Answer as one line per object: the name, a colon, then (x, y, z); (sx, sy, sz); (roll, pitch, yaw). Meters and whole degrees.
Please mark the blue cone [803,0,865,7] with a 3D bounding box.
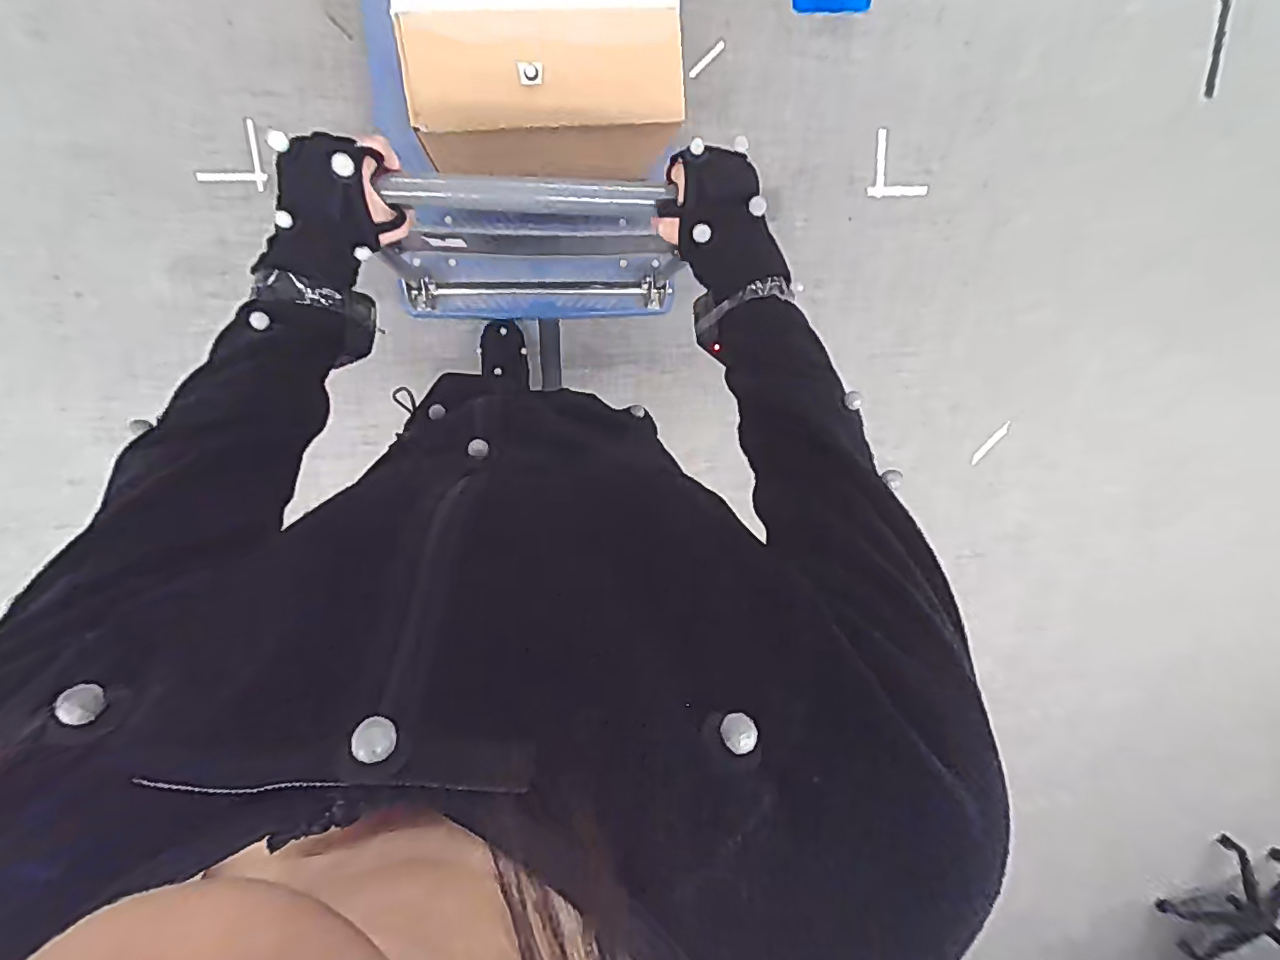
blue cone: (0.482, -1.171, 1.096); (0.193, 0.380, 0.192); (-7, 104, -9)
